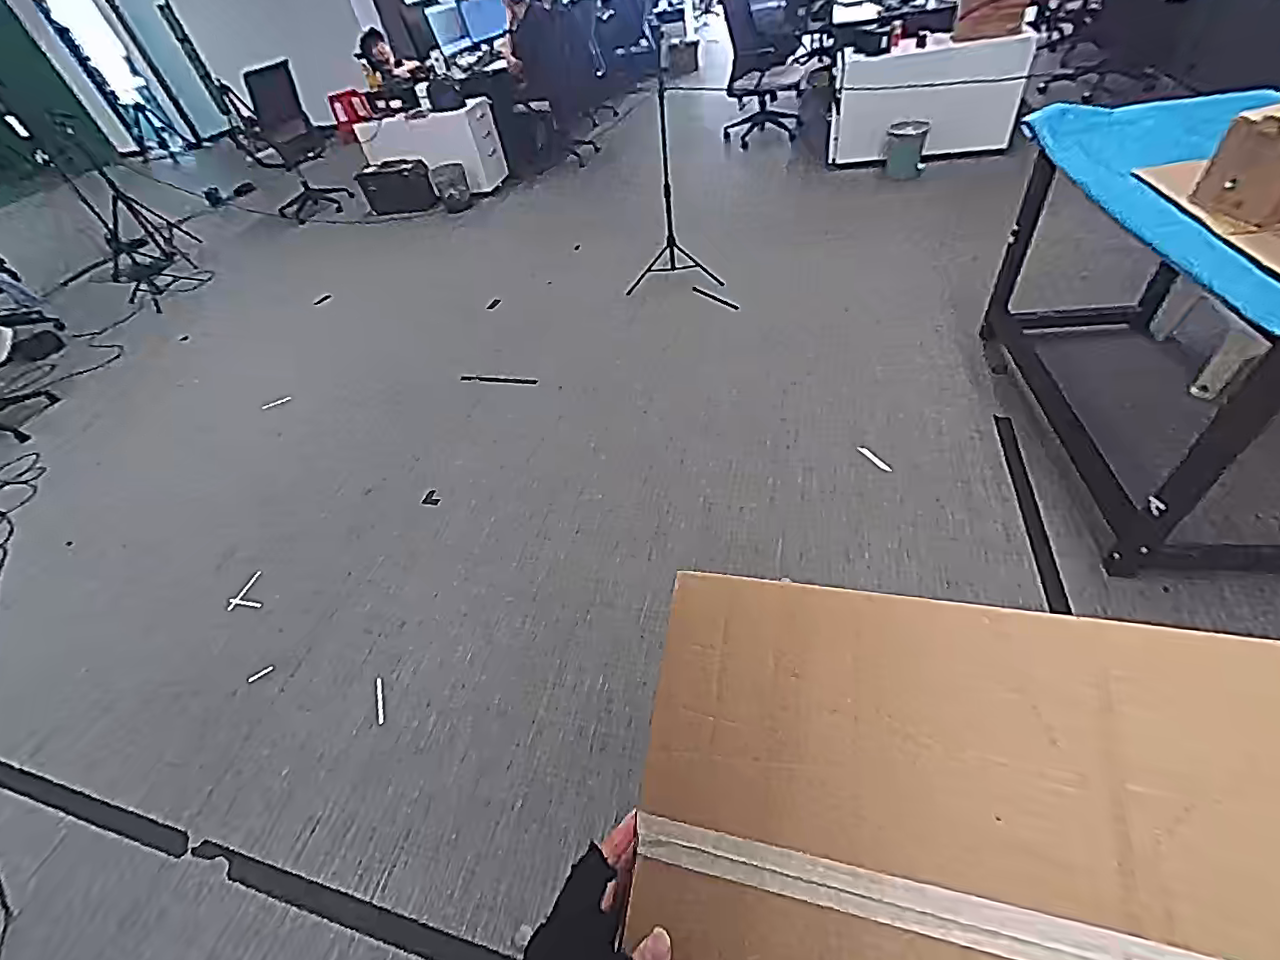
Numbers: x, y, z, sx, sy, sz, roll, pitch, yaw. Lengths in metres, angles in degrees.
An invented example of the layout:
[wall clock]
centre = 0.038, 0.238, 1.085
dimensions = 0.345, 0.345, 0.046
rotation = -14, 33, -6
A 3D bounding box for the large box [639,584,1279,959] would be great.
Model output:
[large box]
centre = 0.235, 0.283, 0.395
dimensions = 0.408, 0.320, 0.320
rotation = 4, 68, 18
